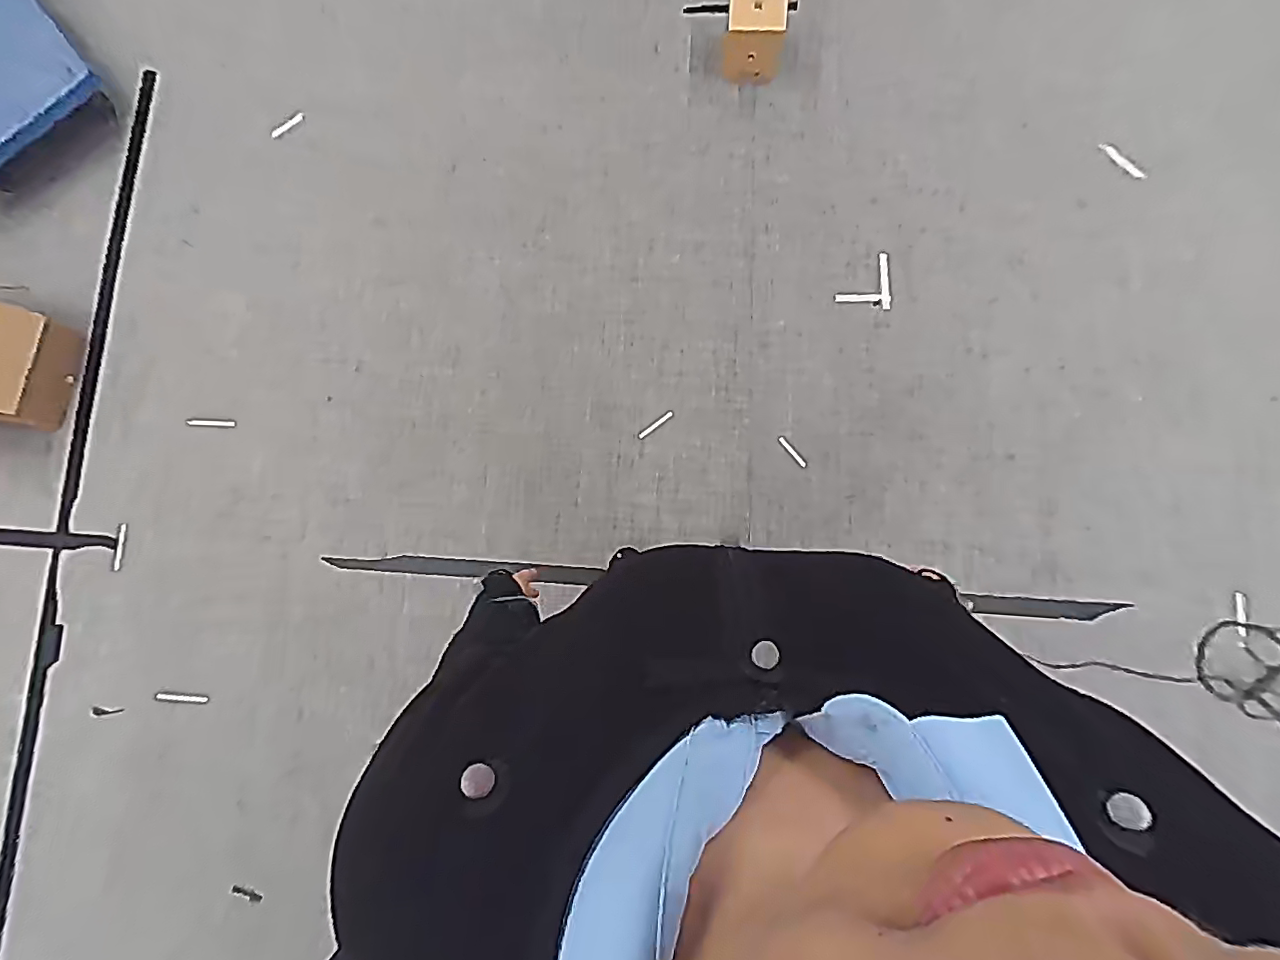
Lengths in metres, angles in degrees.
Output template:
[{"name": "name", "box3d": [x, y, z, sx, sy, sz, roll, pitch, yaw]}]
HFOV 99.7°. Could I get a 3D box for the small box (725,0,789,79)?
[{"name": "small box", "box3d": [0.351, -1.357, 1.635, 0.168, 0.176, 0.179, 5, 82, 4]}]
